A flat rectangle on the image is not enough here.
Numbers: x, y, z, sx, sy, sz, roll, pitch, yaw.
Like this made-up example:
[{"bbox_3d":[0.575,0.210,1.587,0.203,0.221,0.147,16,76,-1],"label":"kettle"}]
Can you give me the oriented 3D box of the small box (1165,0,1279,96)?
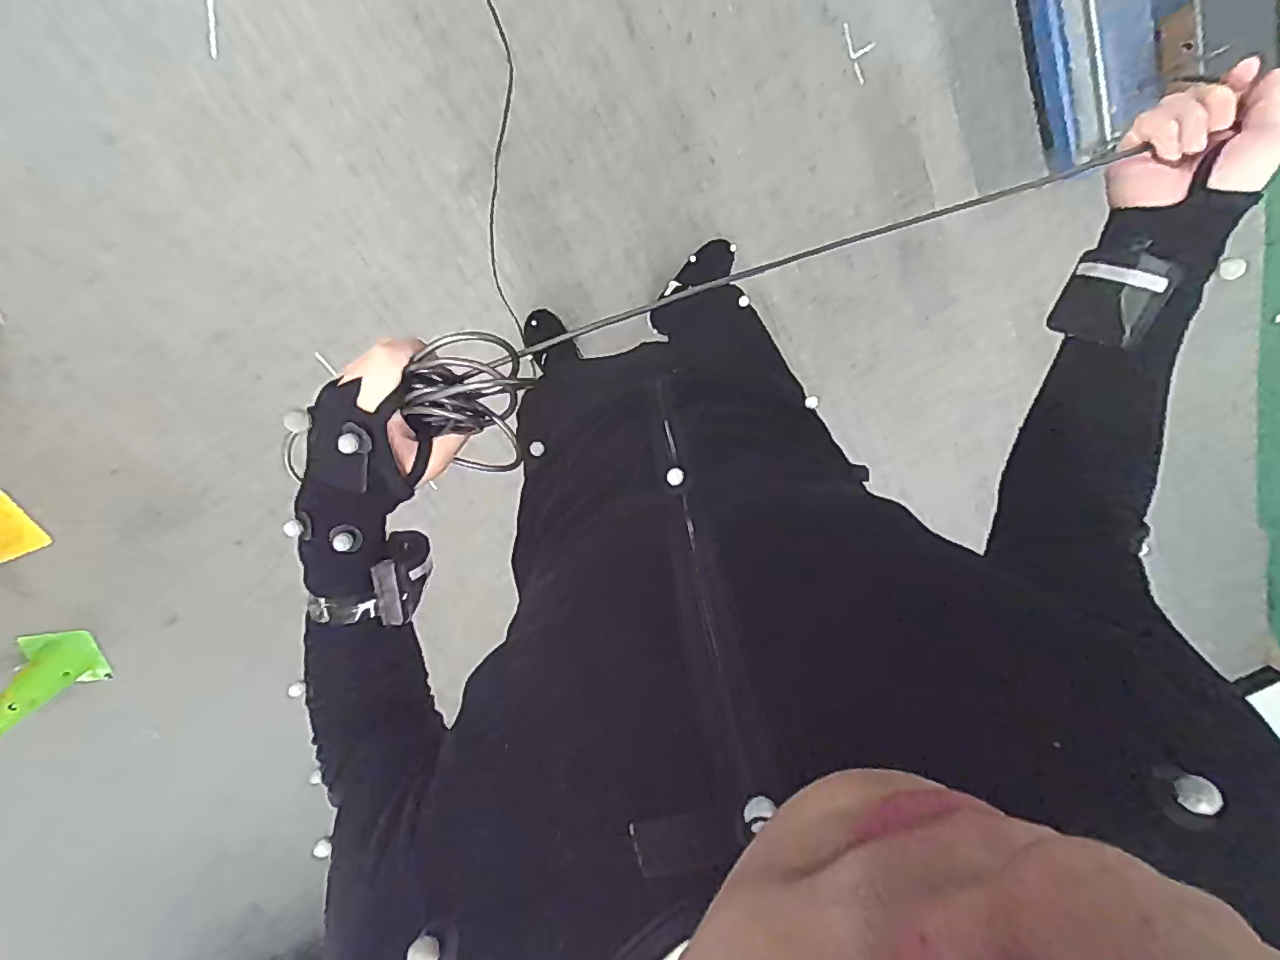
[{"bbox_3d":[1.257,-0.941,1.122,0.179,0.176,0.168,-28,116,8],"label":"small box"}]
